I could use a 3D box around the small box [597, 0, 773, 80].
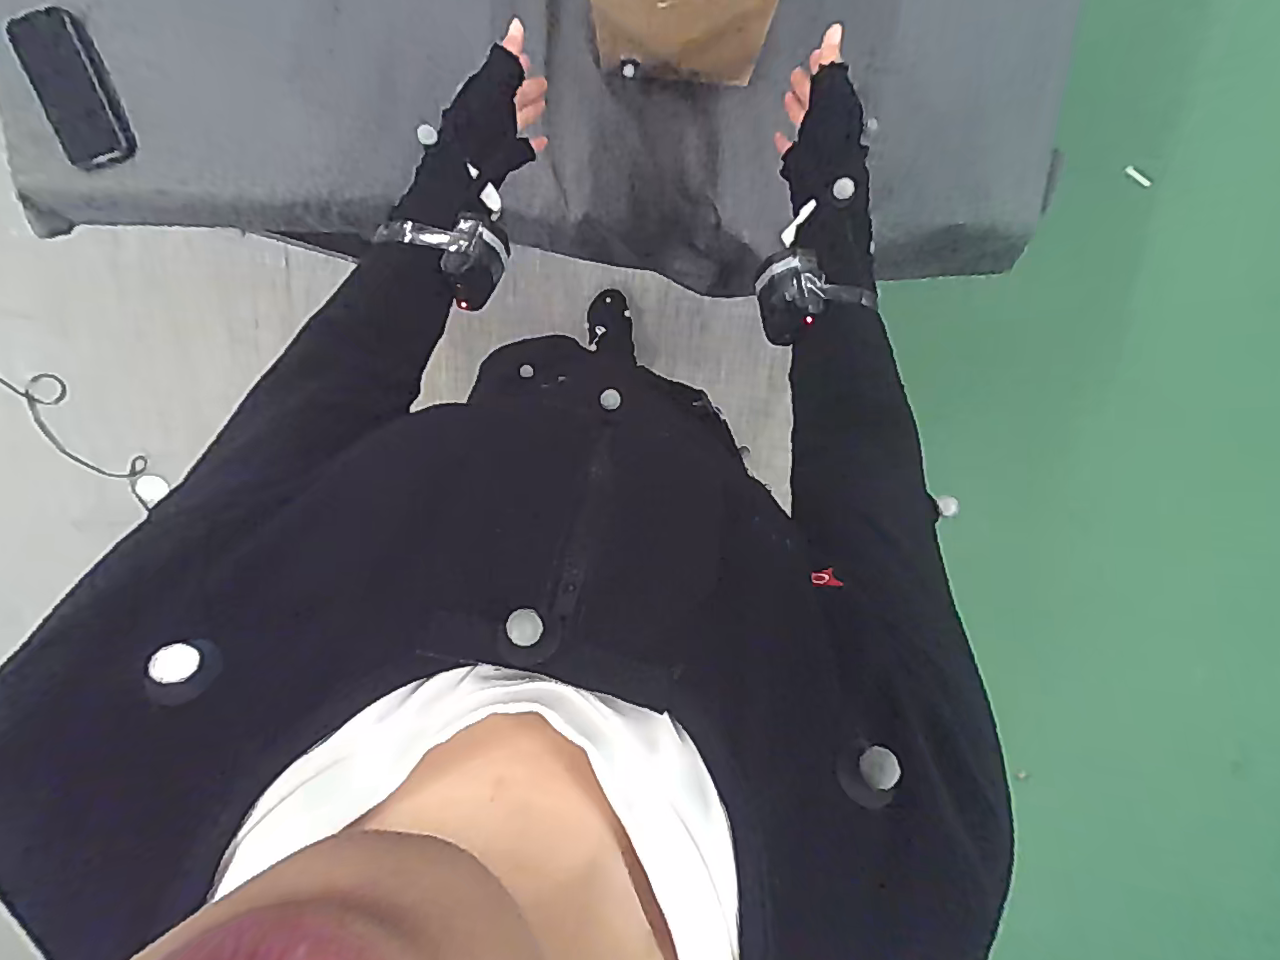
[{"bbox_3d":[0.049,-0.520,0.513,0.168,0.176,0.179,5,102,-1],"label":"small box"}]
